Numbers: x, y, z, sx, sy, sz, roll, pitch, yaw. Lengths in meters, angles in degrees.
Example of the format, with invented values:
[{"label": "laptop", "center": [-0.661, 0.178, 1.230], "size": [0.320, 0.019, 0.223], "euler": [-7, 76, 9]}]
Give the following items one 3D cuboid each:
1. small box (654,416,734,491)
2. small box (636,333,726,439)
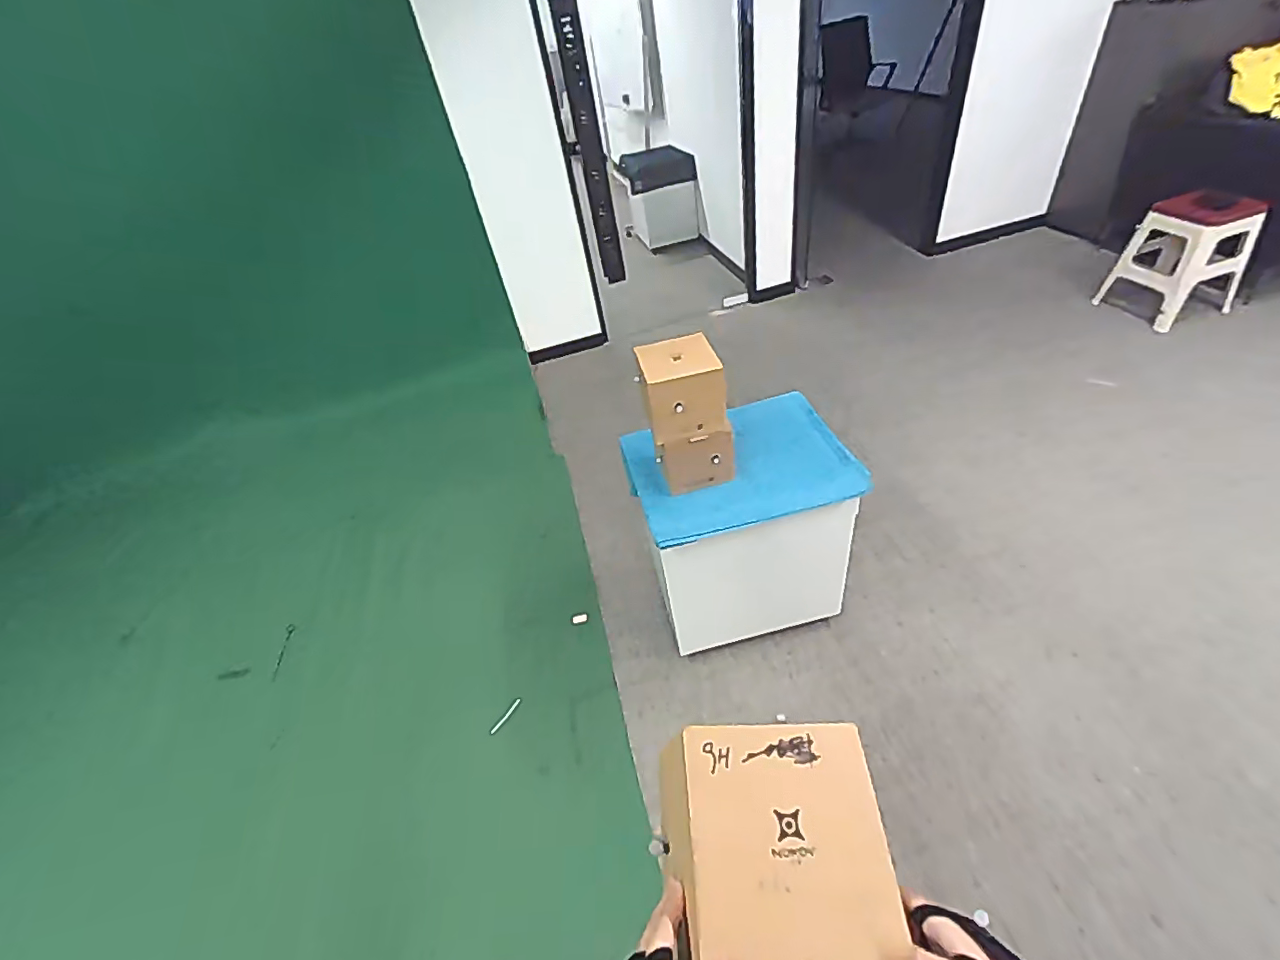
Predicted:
[{"label": "small box", "center": [0.131, -0.091, 1.343], "size": [0.168, 0.176, 0.179], "euler": [-13, 41, -4]}, {"label": "small box", "center": [0.095, -0.208, 1.236], "size": [0.168, 0.176, 0.179], "euler": [-13, 40, -3]}]
